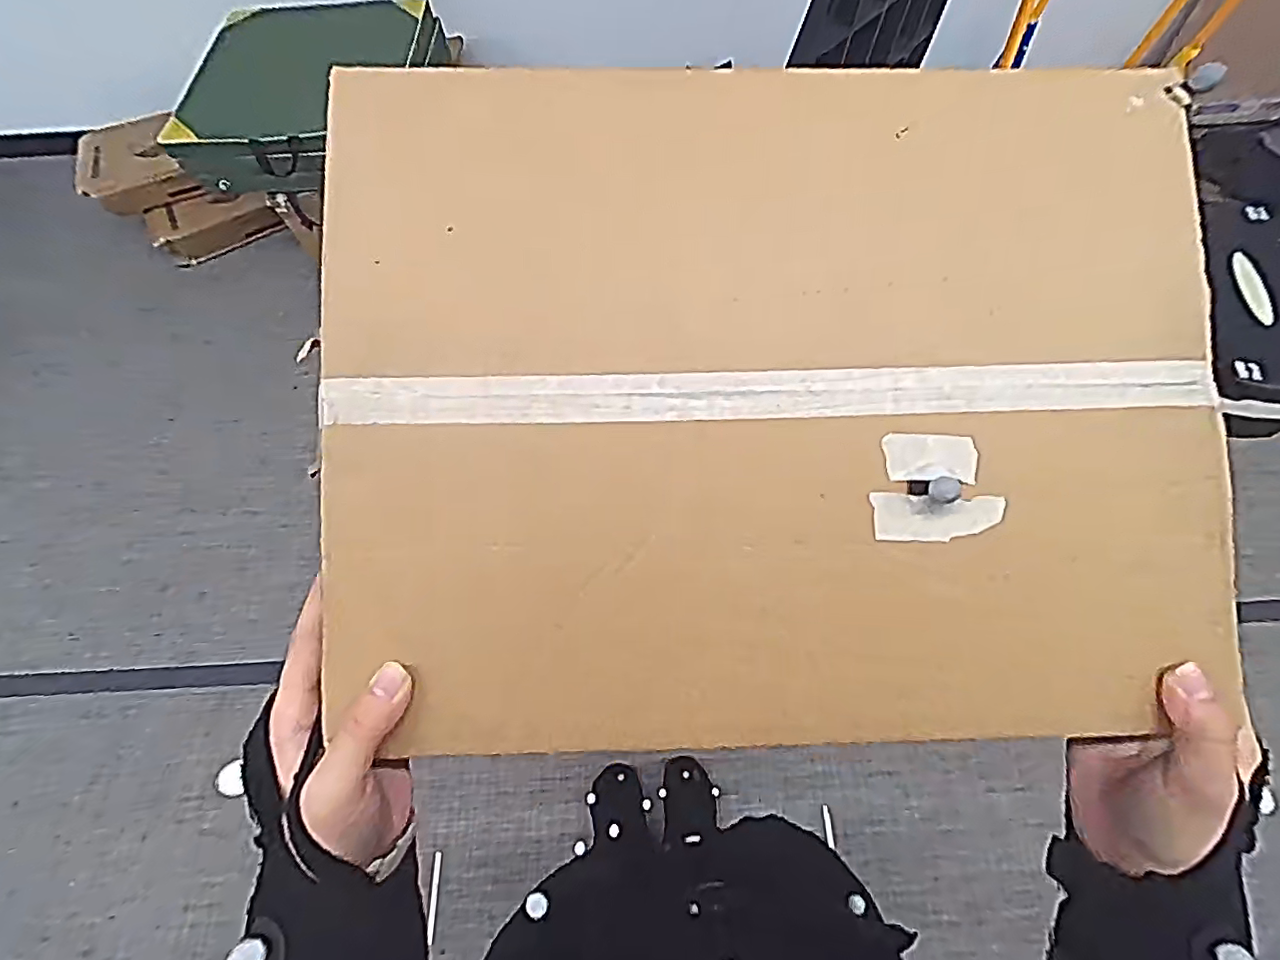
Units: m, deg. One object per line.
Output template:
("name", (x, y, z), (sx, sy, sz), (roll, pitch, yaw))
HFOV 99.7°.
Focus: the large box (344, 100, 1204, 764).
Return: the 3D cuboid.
("large box", (0.055, -0.023, 0.405), (0.408, 0.320, 0.320), (-2, 87, -2))
